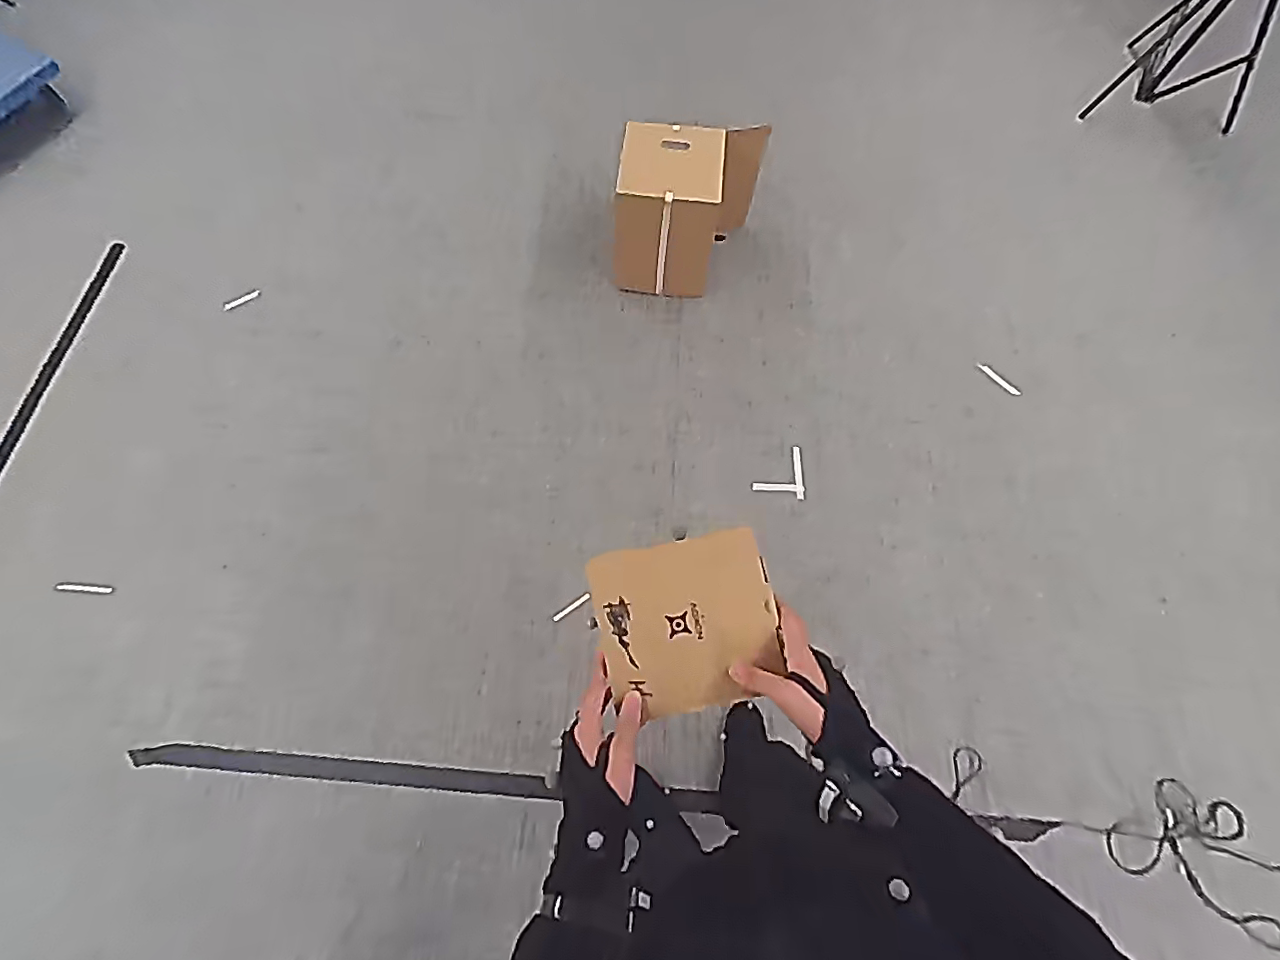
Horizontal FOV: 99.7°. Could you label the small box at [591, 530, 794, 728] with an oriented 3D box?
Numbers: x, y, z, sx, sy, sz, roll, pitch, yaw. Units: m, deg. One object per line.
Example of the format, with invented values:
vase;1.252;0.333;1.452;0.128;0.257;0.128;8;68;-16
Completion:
small box;0.049;0.151;0.607;0.179;0.176;0.168;-12;84;-1
